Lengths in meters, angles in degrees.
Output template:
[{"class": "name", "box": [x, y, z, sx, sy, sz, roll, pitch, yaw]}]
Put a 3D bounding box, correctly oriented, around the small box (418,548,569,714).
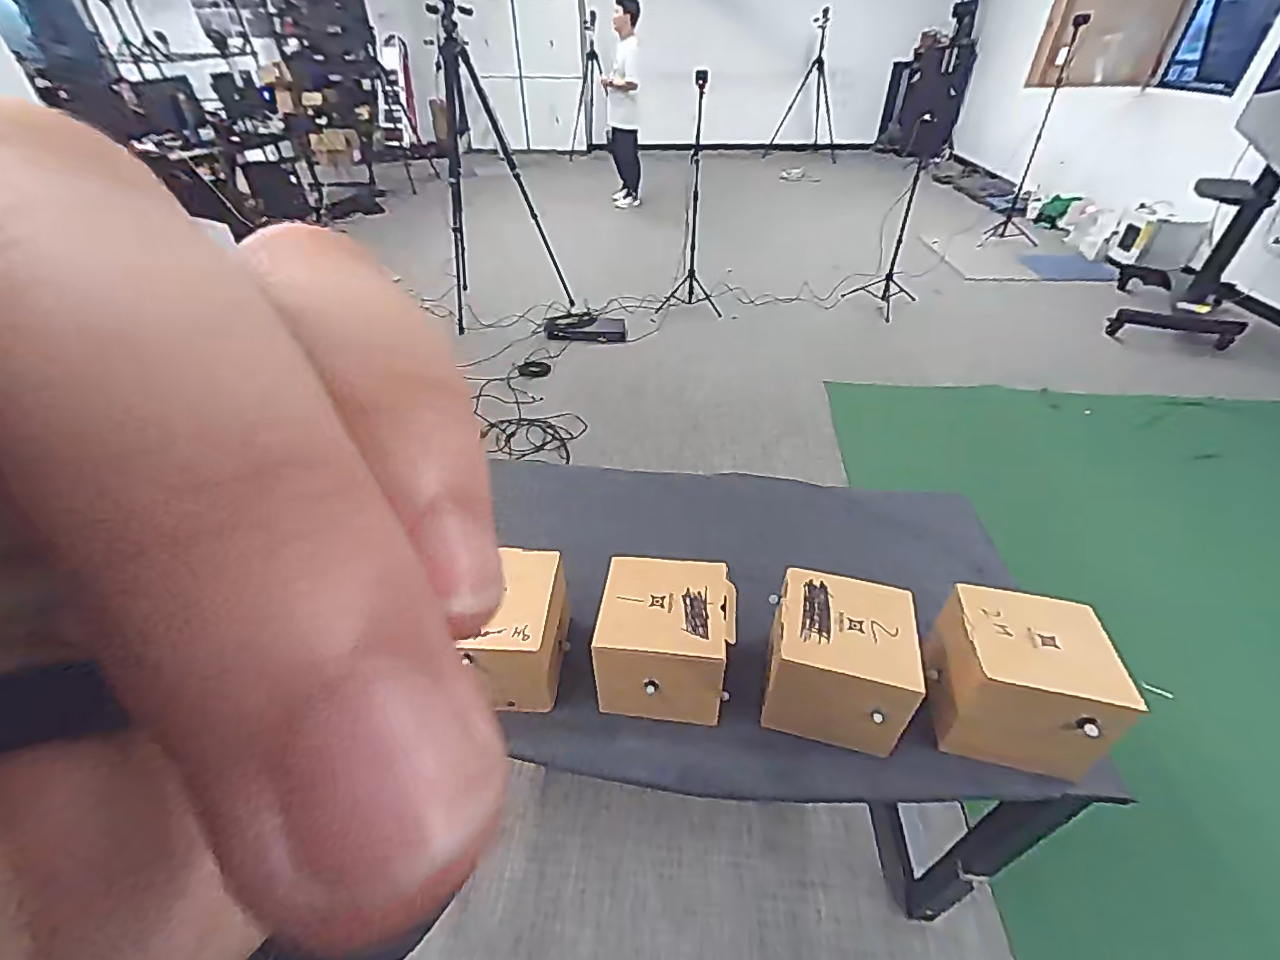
[{"class": "small box", "box": [-0.205, 0.225, 0.817, 0.168, 0.176, 0.179, 1, 40, 4]}]
